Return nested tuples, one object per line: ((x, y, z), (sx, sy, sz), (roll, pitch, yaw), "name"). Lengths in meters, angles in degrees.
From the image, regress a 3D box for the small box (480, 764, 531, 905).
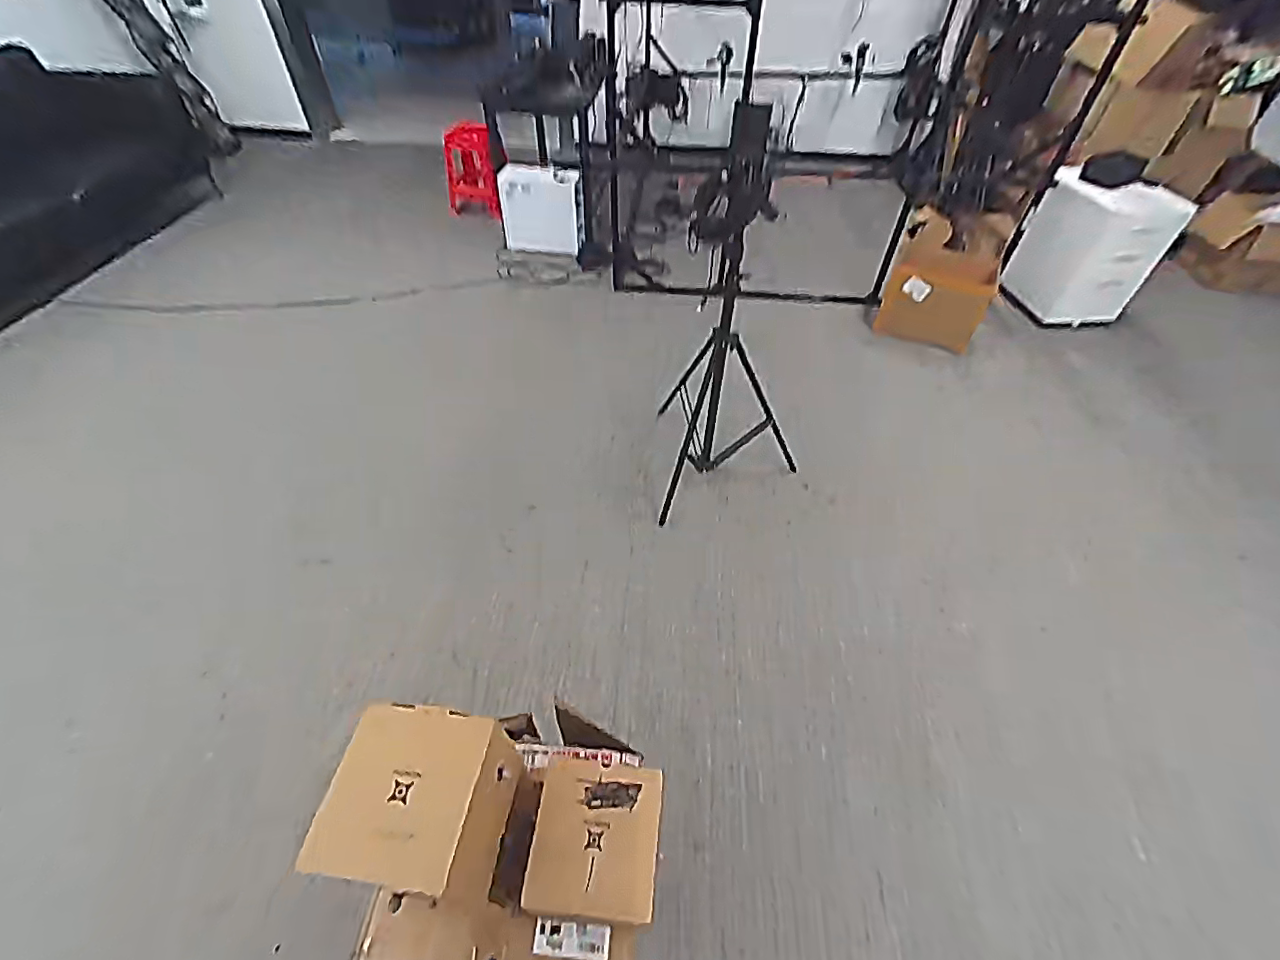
((-0.268, 0.499, 0.789), (0.168, 0.176, 0.179), (5, 49, 5), "small box")

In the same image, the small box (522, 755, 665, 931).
((-0.060, 0.520, 0.775), (0.168, 0.176, 0.179), (6, 49, 3), "small box")

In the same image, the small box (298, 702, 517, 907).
((-0.260, 0.397, 0.661), (0.168, 0.176, 0.179), (4, 50, 6), "small box")
